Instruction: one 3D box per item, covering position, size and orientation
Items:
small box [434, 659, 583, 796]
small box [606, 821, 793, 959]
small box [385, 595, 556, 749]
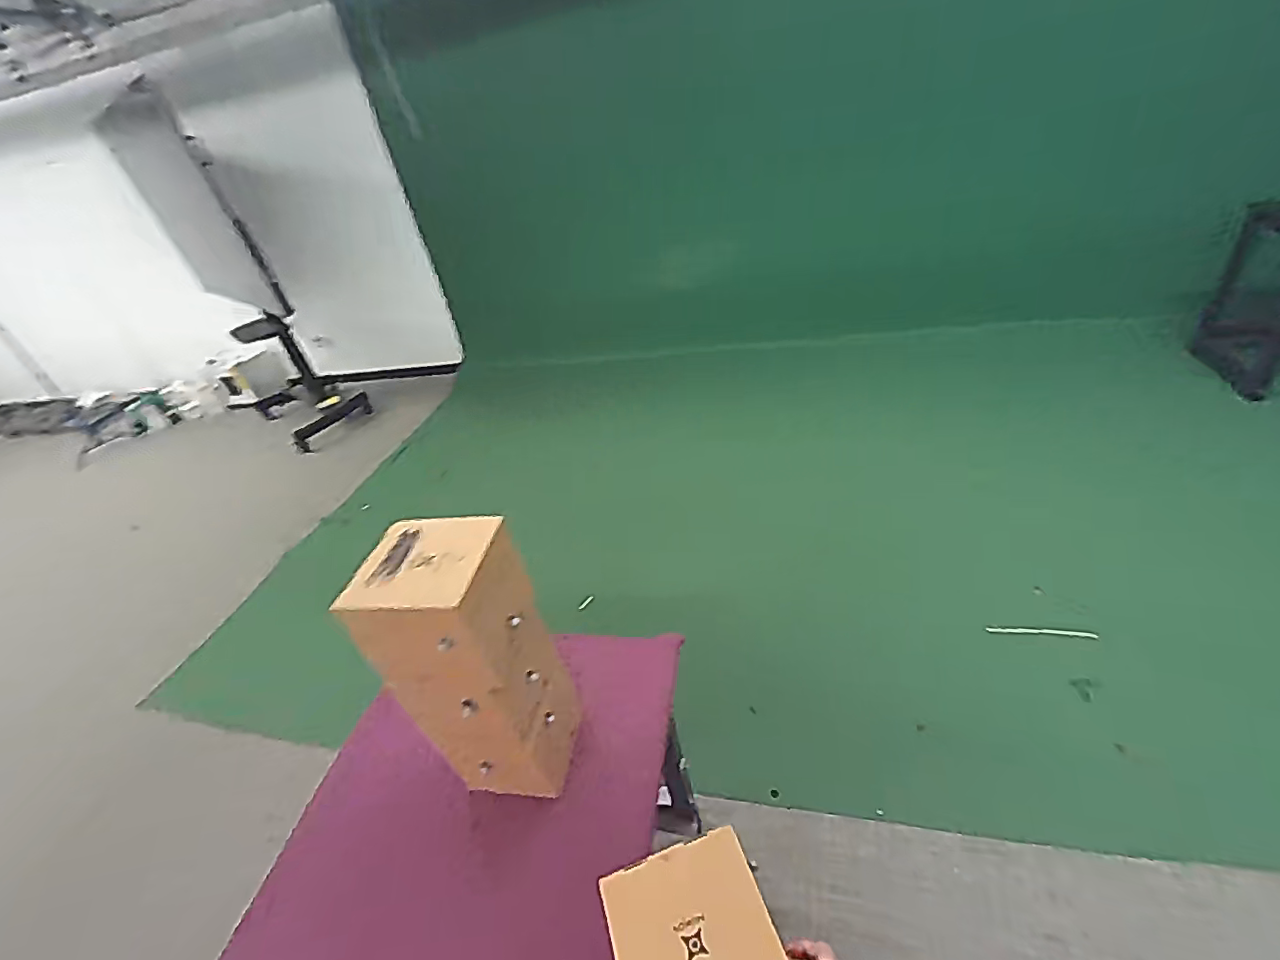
[{"bbox_3d":[-0.219,0.433,0.952,0.179,0.176,0.168,-4,38,15],"label":"small box"},{"bbox_3d":[0.076,0.528,0.594,0.168,0.176,0.179,-18,35,-8],"label":"small box"},{"bbox_3d":[-0.252,0.302,0.857,0.179,0.176,0.168,-3,36,16],"label":"small box"}]
